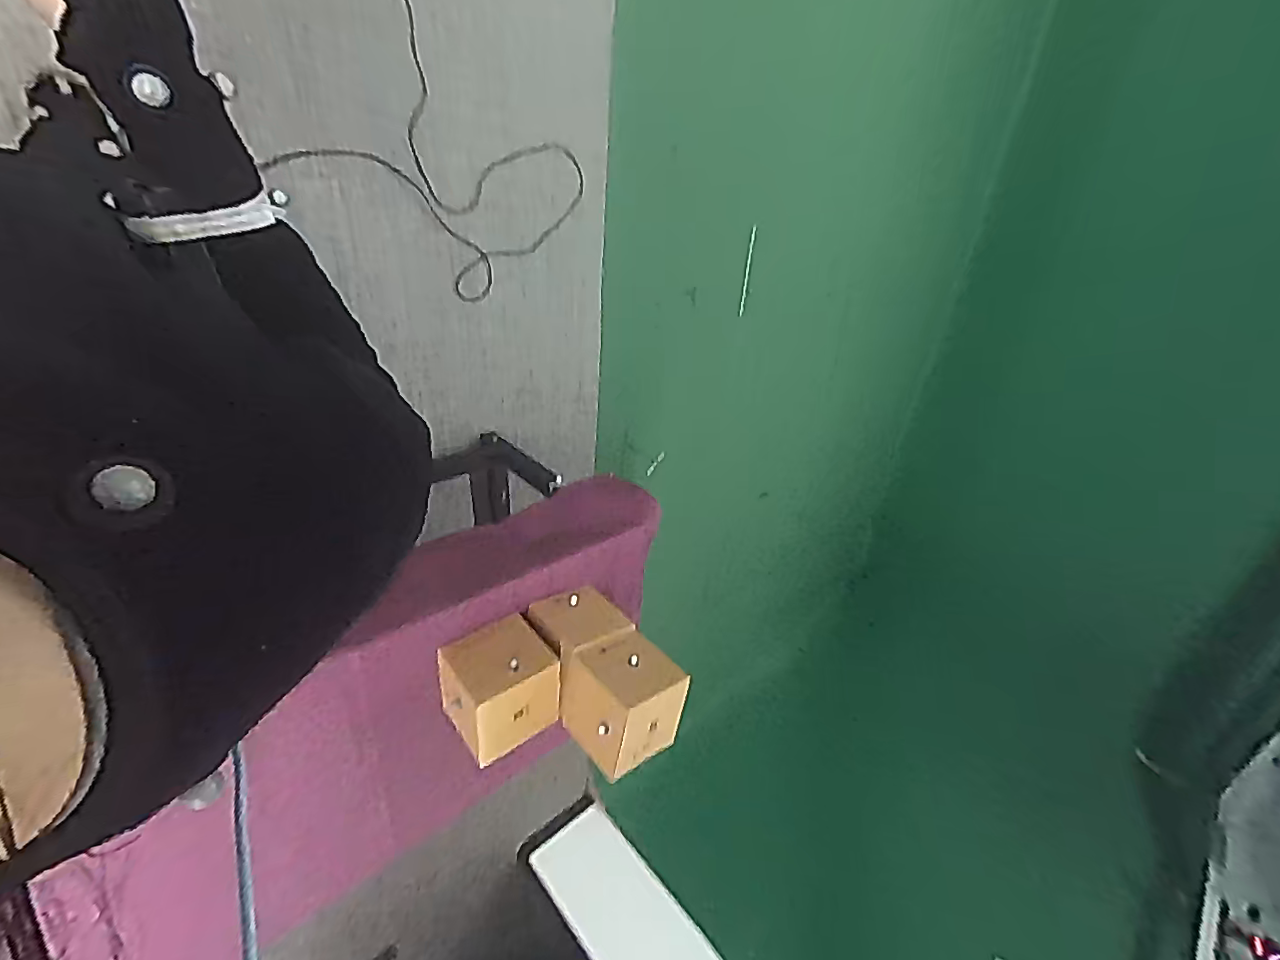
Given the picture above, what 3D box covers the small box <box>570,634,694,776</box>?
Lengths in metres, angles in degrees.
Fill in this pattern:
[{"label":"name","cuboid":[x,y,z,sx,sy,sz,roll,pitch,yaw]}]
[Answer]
[{"label":"small box","cuboid":[-0.021,0.430,1.071,0.168,0.176,0.179,-10,119,-43]}]
